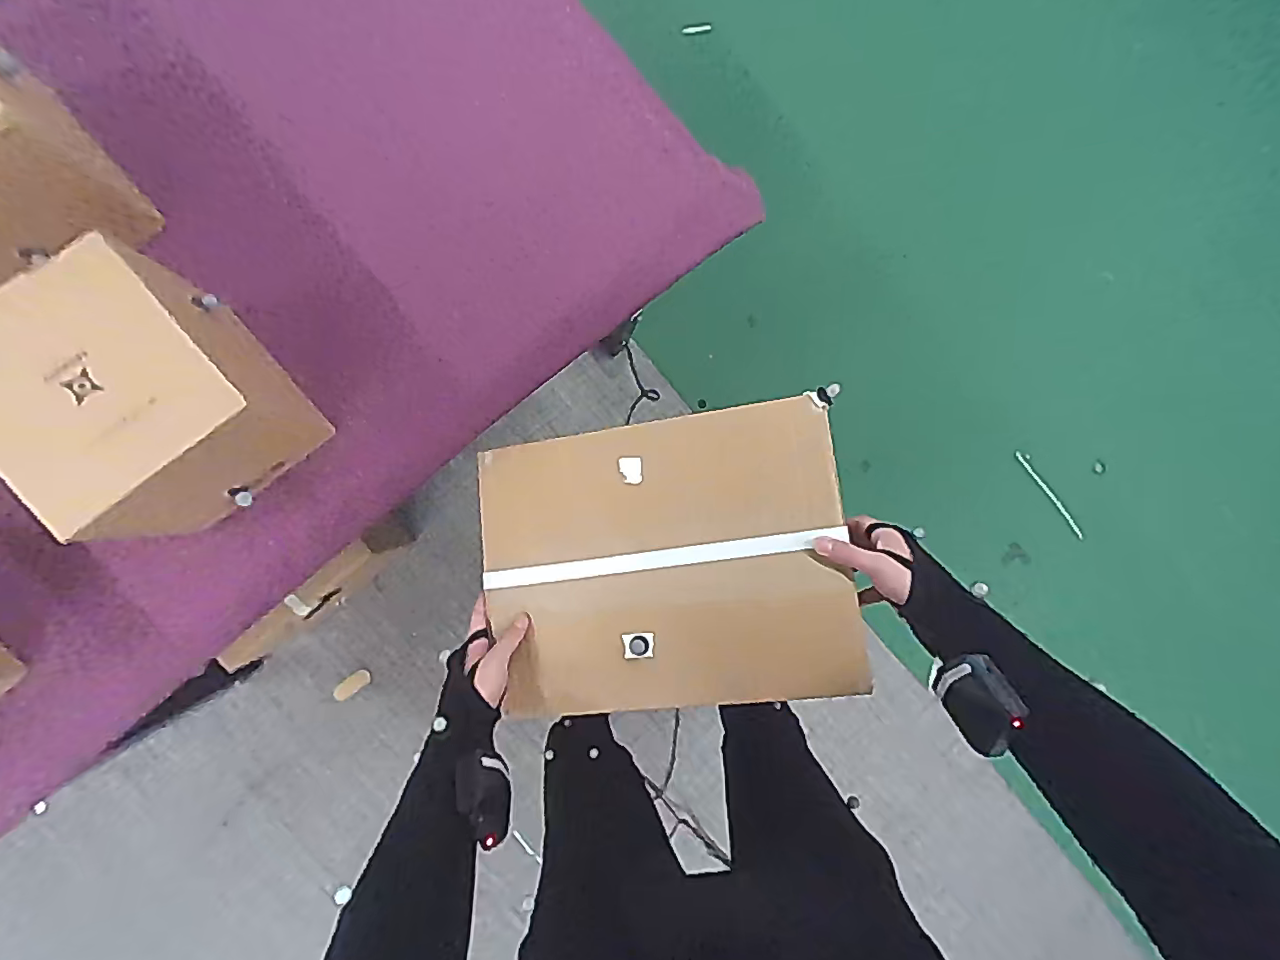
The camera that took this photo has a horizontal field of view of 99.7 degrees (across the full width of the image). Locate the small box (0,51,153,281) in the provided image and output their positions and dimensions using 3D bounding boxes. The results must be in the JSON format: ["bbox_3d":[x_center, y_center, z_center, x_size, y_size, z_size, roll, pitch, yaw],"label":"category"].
[{"bbox_3d":[-0.598,-0.287,0.462,0.168,0.176,0.179,-39,94,-8],"label":"small box"}]

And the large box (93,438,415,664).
[{"bbox_3d":[-0.745,0.086,1.093,0.320,0.320,0.408,-41,93,-8],"label":"large box"}]

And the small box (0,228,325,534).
[{"bbox_3d":[-0.430,-0.070,0.476,0.168,0.176,0.179,-40,93,-7],"label":"small box"}]
